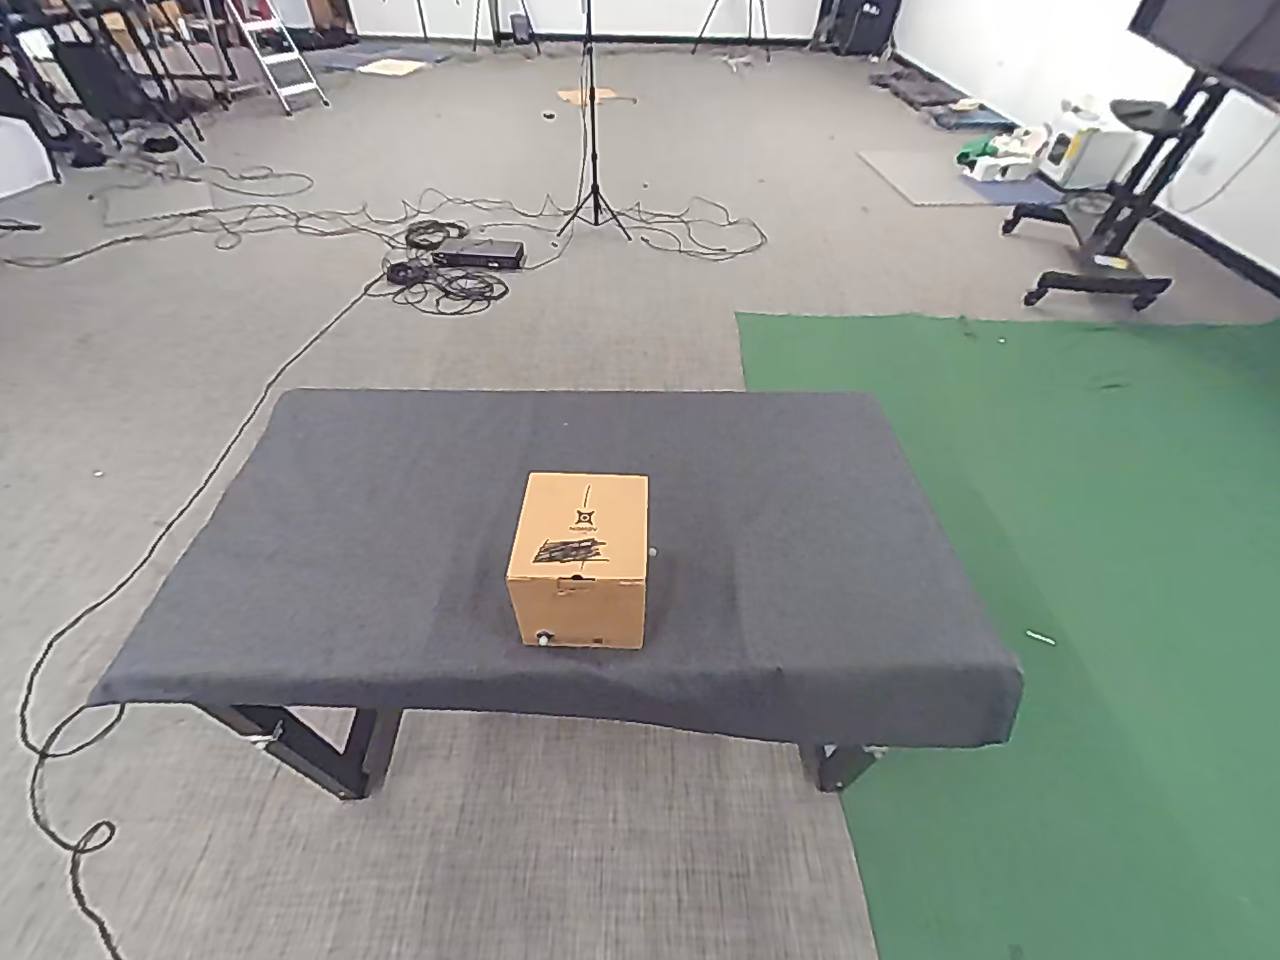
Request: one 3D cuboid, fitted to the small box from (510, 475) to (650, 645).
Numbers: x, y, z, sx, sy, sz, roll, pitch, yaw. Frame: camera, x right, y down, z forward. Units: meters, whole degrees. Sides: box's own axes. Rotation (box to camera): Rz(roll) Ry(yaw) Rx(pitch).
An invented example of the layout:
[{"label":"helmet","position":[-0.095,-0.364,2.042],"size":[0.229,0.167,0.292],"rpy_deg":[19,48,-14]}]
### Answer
[{"label":"small box","position":[-0.073,0.115,0.759],"size":[0.168,0.176,0.179],"rpy_deg":[3,46,0]}]
